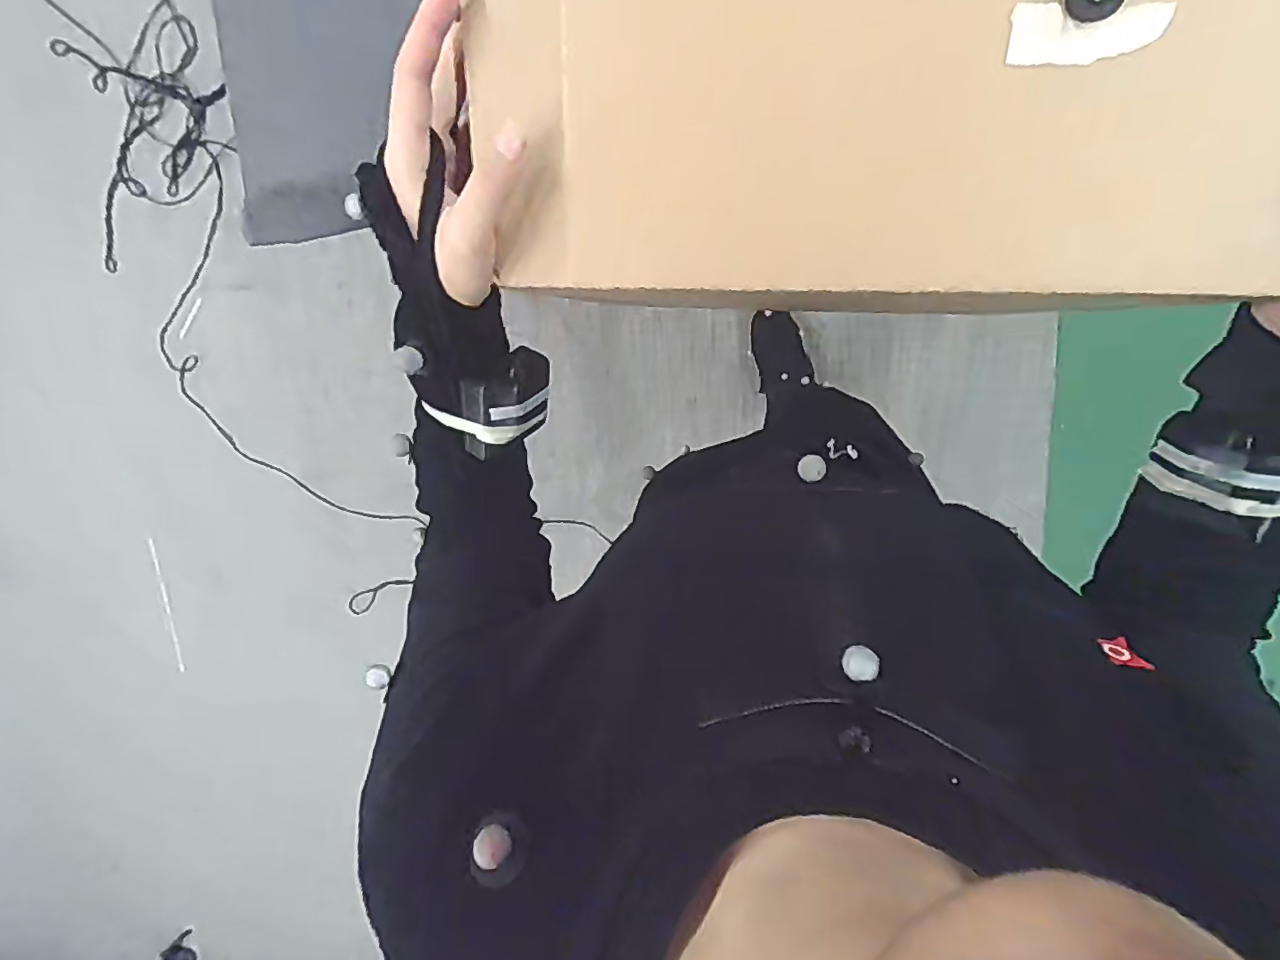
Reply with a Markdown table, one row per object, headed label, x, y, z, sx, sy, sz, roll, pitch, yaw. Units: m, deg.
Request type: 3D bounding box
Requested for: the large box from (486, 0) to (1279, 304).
| label | x | y | z | sx | sy | sz | roll | pitch | yaw |
| --- | --- | --- | --- | --- | --- | --- | --- | --- | --- |
| large box | 0.141 | -0.290 | 0.369 | 0.408 | 0.320 | 0.320 | 3 | 107 | 7 |
